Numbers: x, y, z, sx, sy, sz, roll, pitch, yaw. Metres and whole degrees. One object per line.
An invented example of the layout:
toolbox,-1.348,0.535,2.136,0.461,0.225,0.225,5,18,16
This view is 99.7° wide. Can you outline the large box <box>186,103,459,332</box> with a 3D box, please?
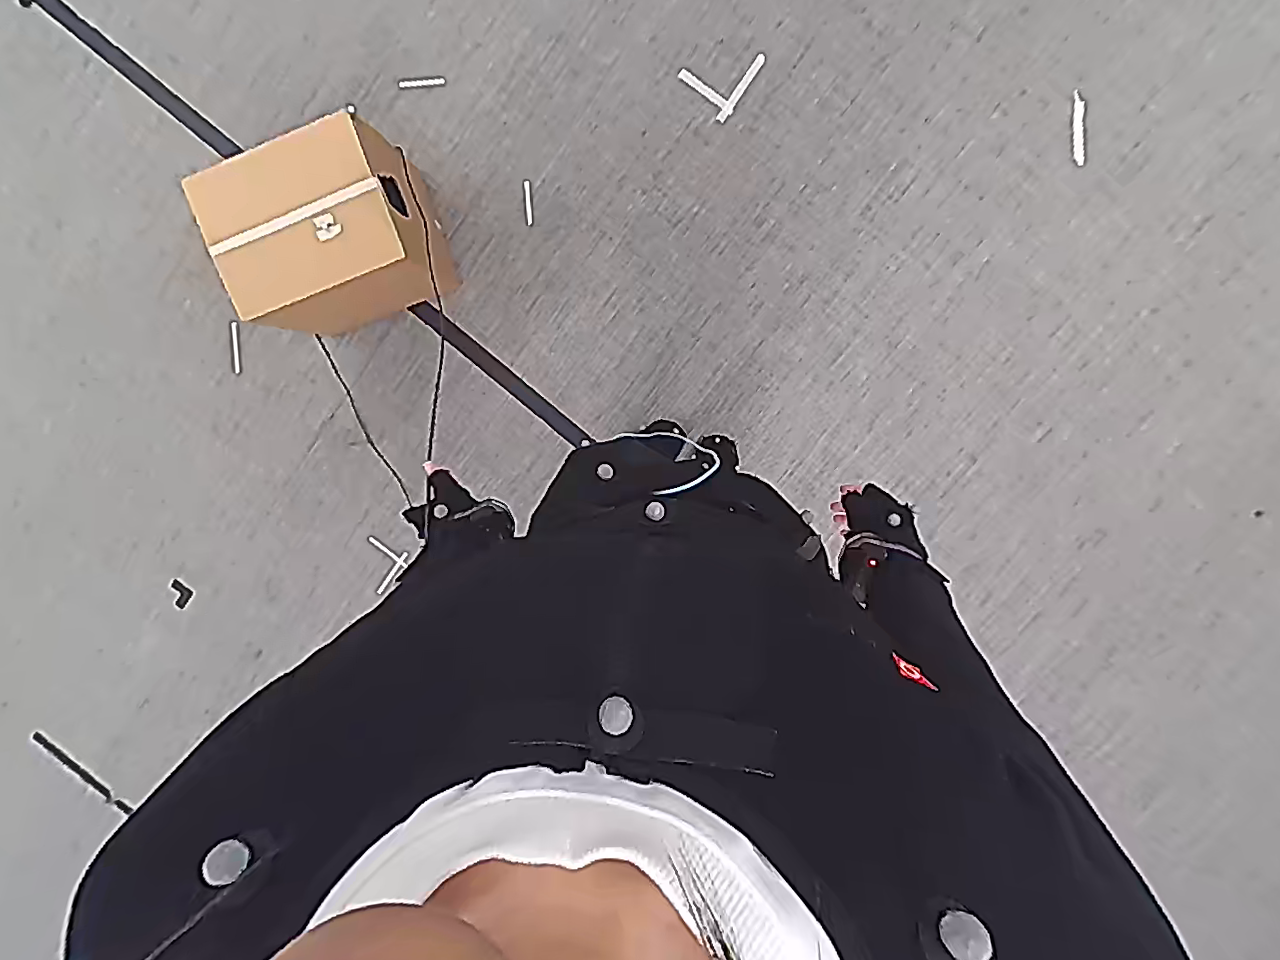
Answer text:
large box,-0.716,-0.583,1.281,0.408,0.320,0.320,-18,98,5
